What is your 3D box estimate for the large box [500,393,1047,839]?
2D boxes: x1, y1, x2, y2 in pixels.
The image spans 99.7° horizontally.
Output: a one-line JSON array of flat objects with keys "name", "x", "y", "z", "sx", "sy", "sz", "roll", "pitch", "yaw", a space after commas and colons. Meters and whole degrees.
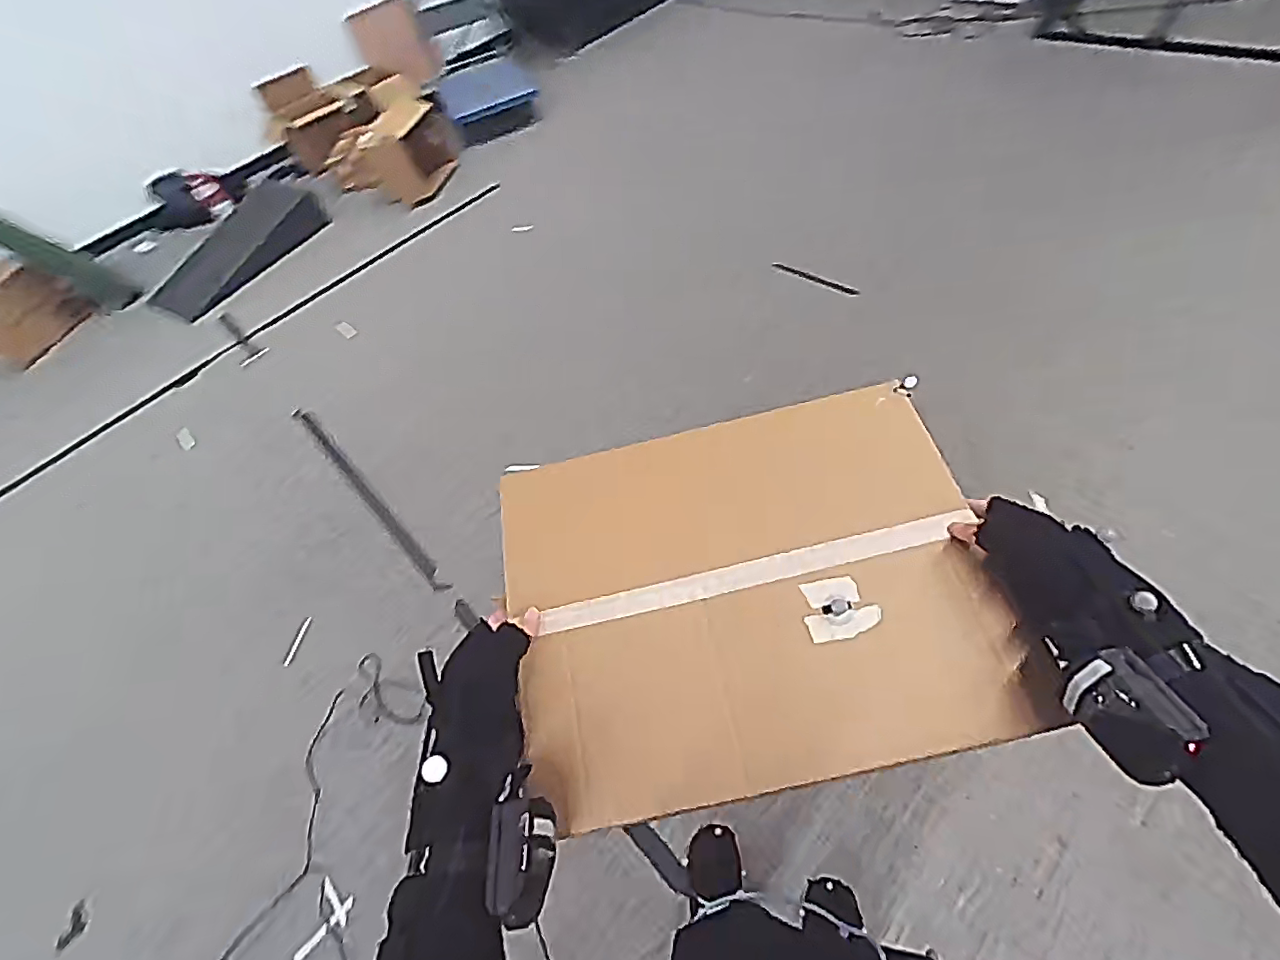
[{"name": "large box", "x": 0.099, "y": 0.160, "z": 0.603, "sx": 0.408, "sy": 0.320, "sz": 0.320, "roll": -14, "pitch": 61, "yaw": 0}]
